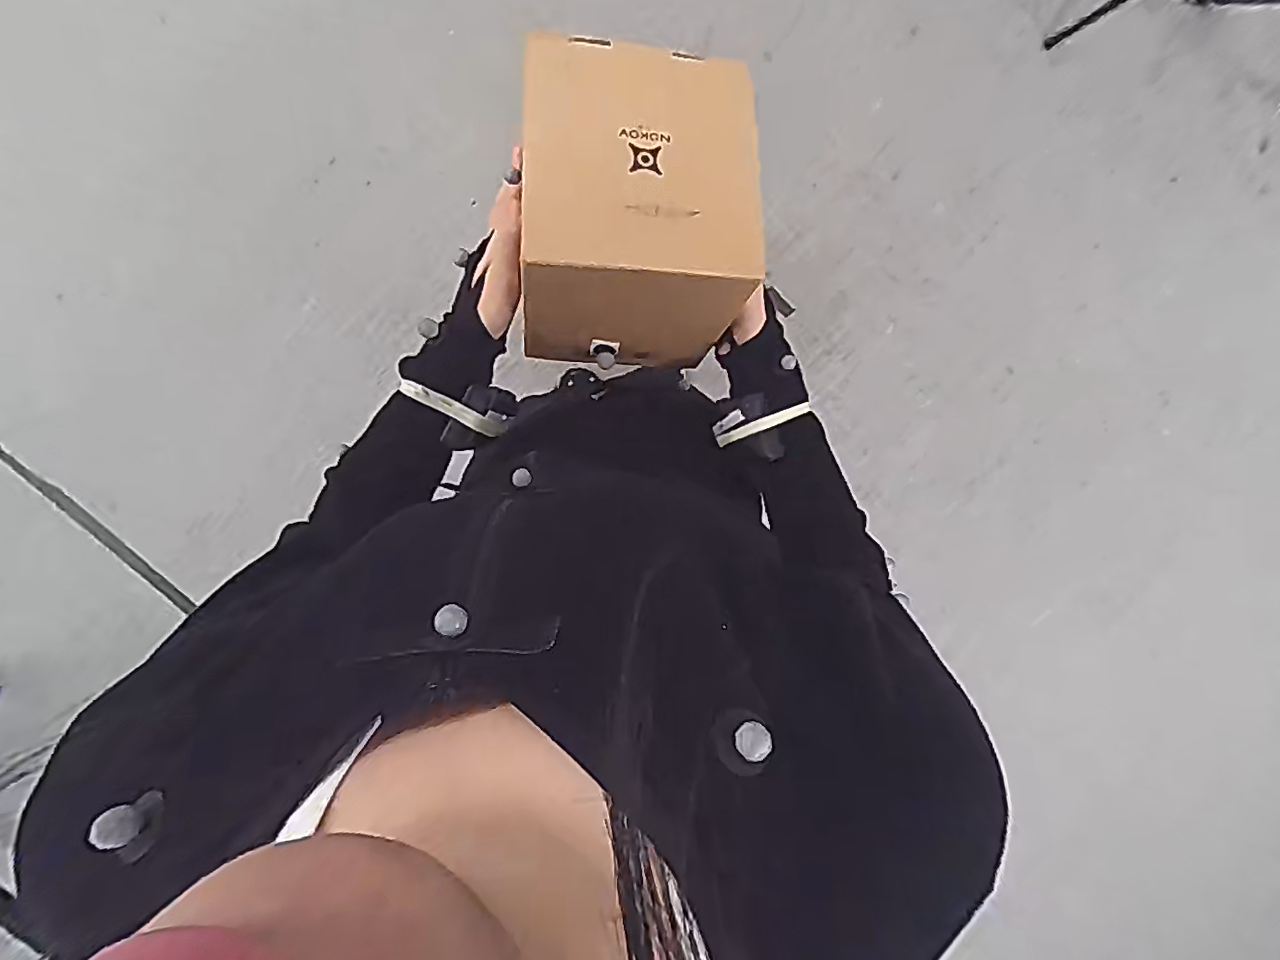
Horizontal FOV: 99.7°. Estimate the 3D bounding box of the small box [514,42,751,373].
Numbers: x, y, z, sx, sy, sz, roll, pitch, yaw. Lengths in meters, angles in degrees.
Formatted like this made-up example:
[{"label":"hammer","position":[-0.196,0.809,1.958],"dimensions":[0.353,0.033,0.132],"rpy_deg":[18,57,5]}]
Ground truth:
[{"label":"small box","position":[-0.019,-0.206,0.455],"dimensions":[0.168,0.176,0.179],"rpy_deg":[0,80,-11]}]
